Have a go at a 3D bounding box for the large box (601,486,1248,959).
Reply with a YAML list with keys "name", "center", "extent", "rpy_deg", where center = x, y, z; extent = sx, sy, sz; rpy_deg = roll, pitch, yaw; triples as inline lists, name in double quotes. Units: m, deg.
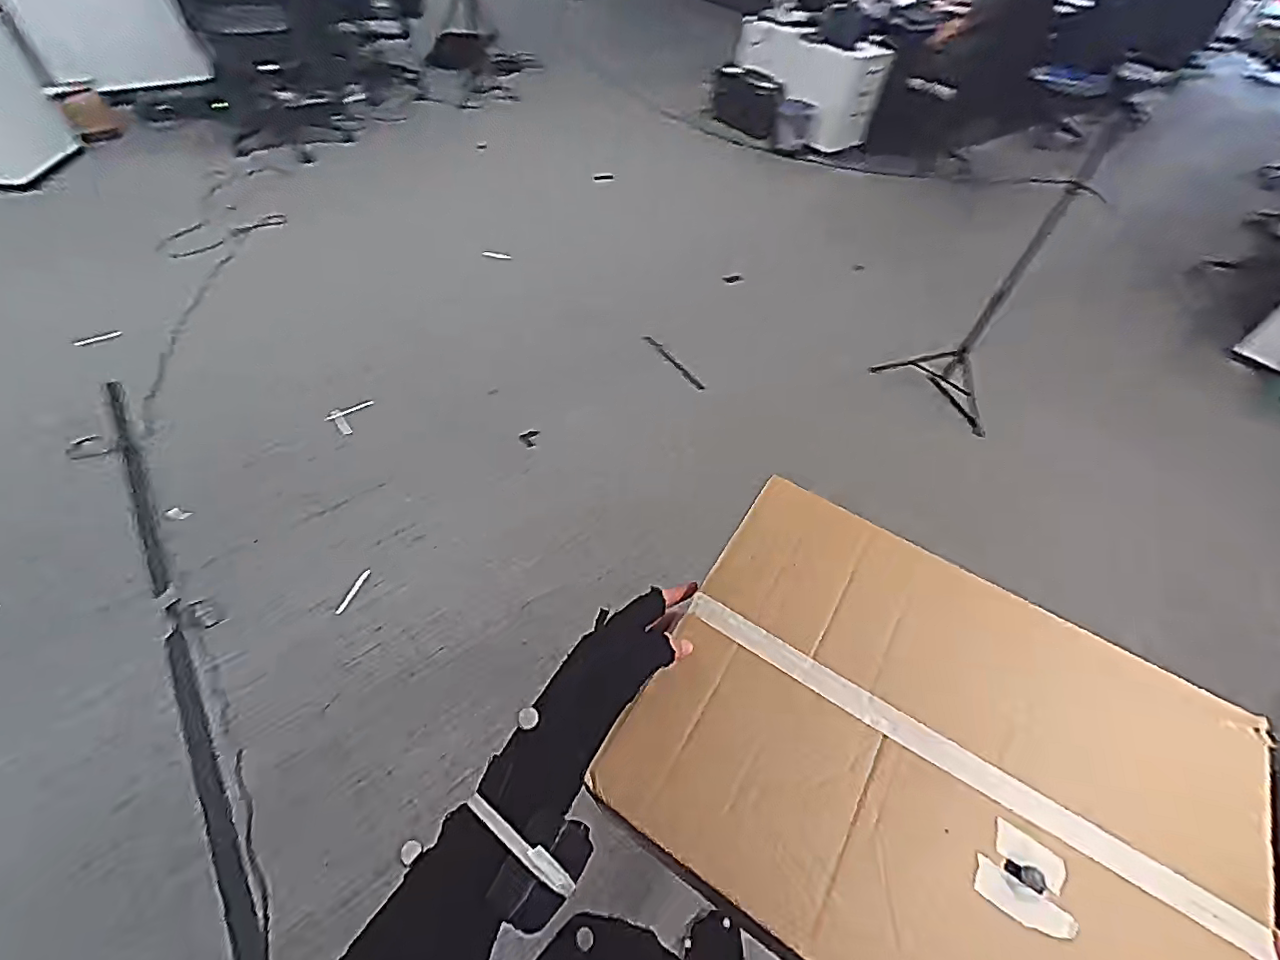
- name: "large box"
  center: [0.211, 0.279, 0.523]
  extent: [0.408, 0.320, 0.320]
  rpy_deg: [28, 60, 17]
